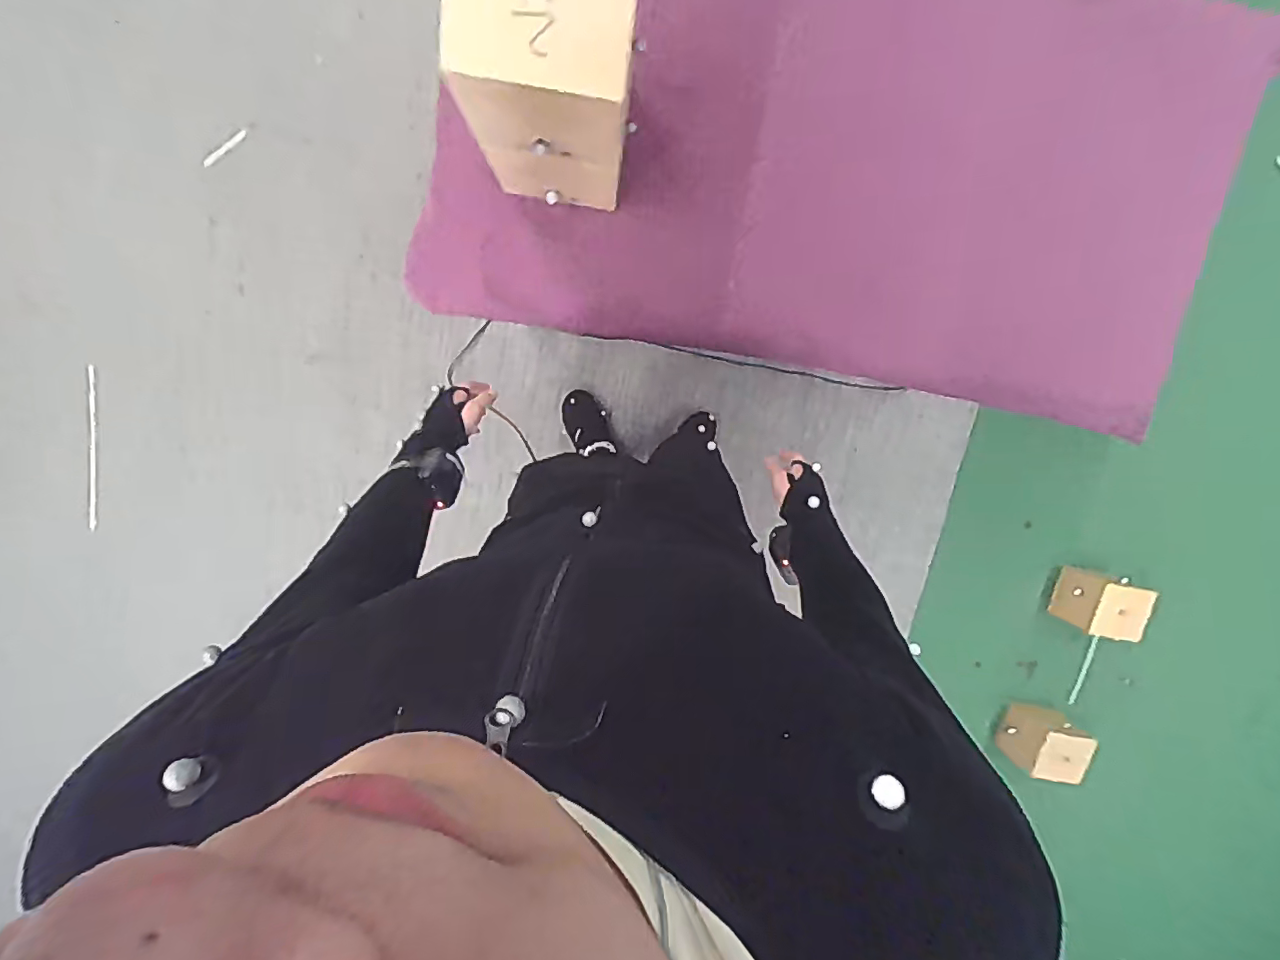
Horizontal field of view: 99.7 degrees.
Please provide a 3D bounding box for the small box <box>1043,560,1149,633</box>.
[{"bbox_3d":[1.449,0.367,1.733,0.179,0.176,0.168,10,100,-7],"label":"small box"}]

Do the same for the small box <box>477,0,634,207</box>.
[{"bbox_3d":[-0.106,-0.482,0.702,0.168,0.176,0.179,7,101,-6],"label":"small box"}]

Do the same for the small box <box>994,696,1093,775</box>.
[{"bbox_3d":[1.346,0.852,1.814,0.179,0.176,0.168,11,100,-6],"label":"small box"}]
